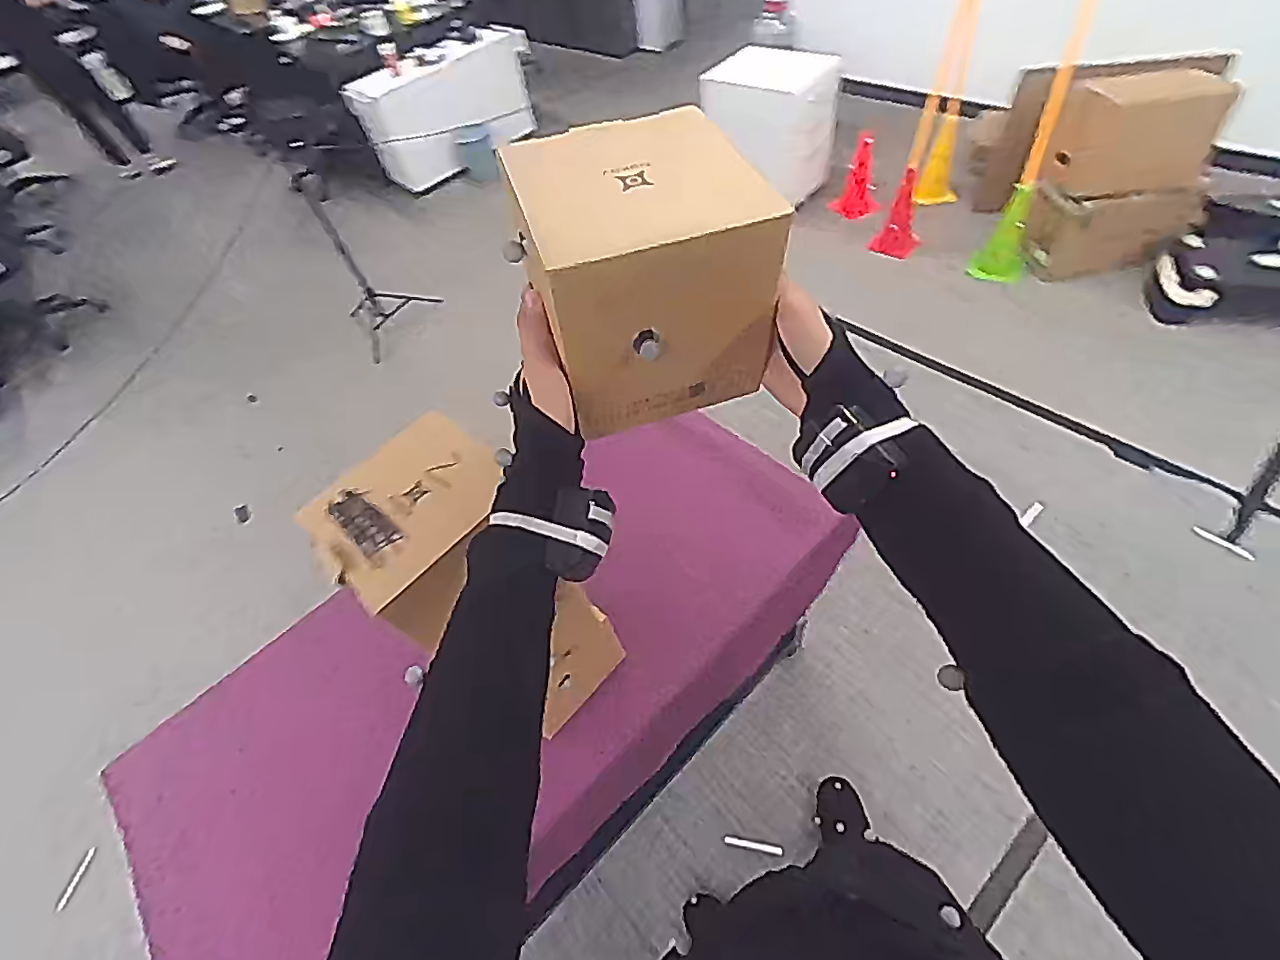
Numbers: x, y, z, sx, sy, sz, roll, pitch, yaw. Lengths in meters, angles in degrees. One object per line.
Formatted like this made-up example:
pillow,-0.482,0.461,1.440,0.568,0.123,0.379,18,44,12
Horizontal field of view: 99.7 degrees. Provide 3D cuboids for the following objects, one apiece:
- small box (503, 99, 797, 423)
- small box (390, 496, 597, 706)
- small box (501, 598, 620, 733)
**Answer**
small box,0.004,-0.167,0.439,0.168,0.176,0.179,-17,55,-8
small box,-0.182,0.161,0.705,0.168,0.176,0.179,-40,57,-17
small box,-0.152,0.258,0.835,0.168,0.176,0.179,33,66,29
